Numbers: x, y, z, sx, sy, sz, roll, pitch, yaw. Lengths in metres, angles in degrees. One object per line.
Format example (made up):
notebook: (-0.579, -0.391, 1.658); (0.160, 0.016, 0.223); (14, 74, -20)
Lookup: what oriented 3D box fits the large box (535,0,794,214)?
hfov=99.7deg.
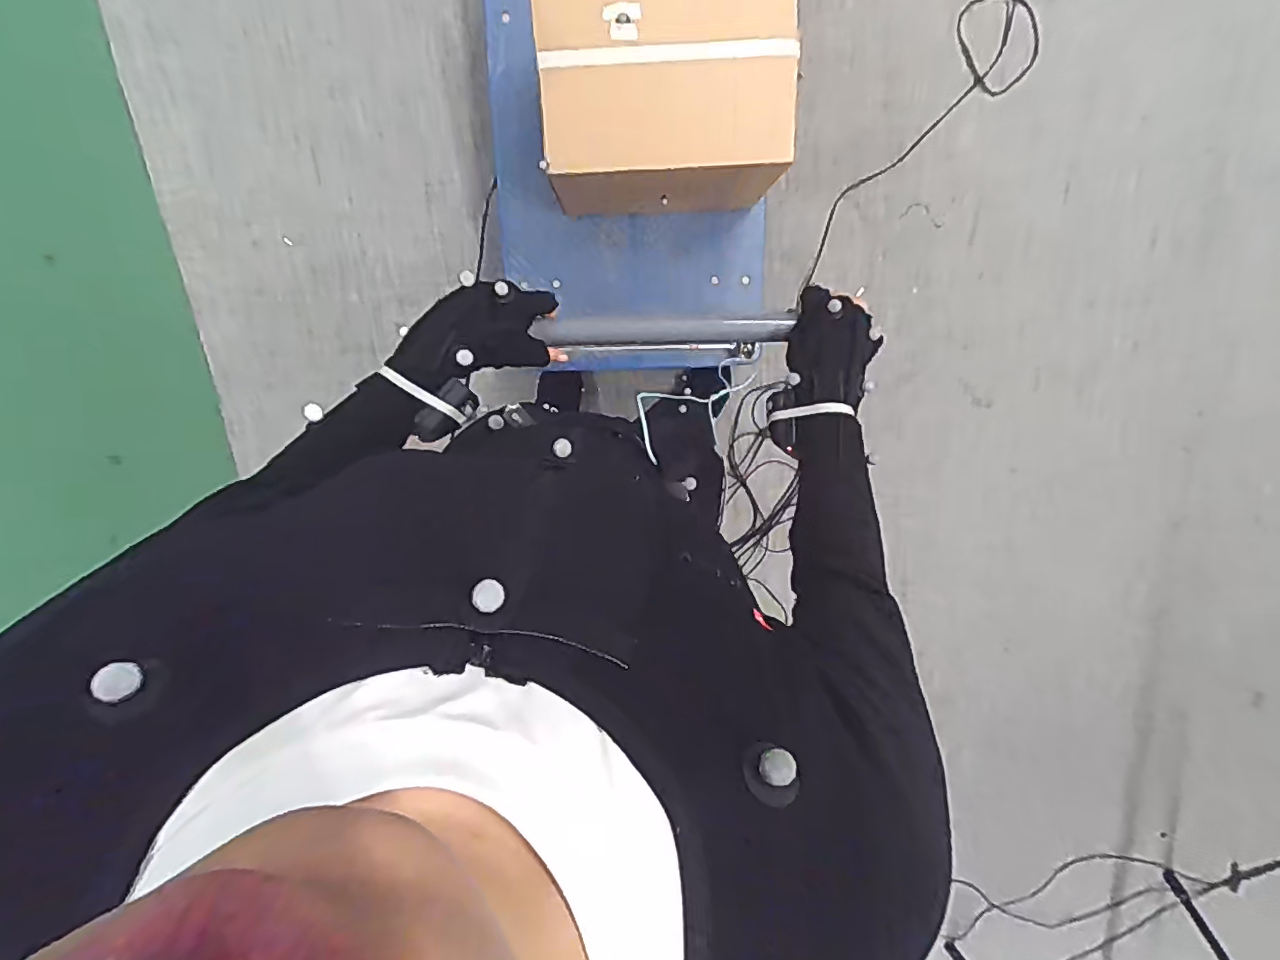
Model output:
large box: (0.045, -0.695, 0.990); (0.408, 0.320, 0.320); (-3, 104, 1)
